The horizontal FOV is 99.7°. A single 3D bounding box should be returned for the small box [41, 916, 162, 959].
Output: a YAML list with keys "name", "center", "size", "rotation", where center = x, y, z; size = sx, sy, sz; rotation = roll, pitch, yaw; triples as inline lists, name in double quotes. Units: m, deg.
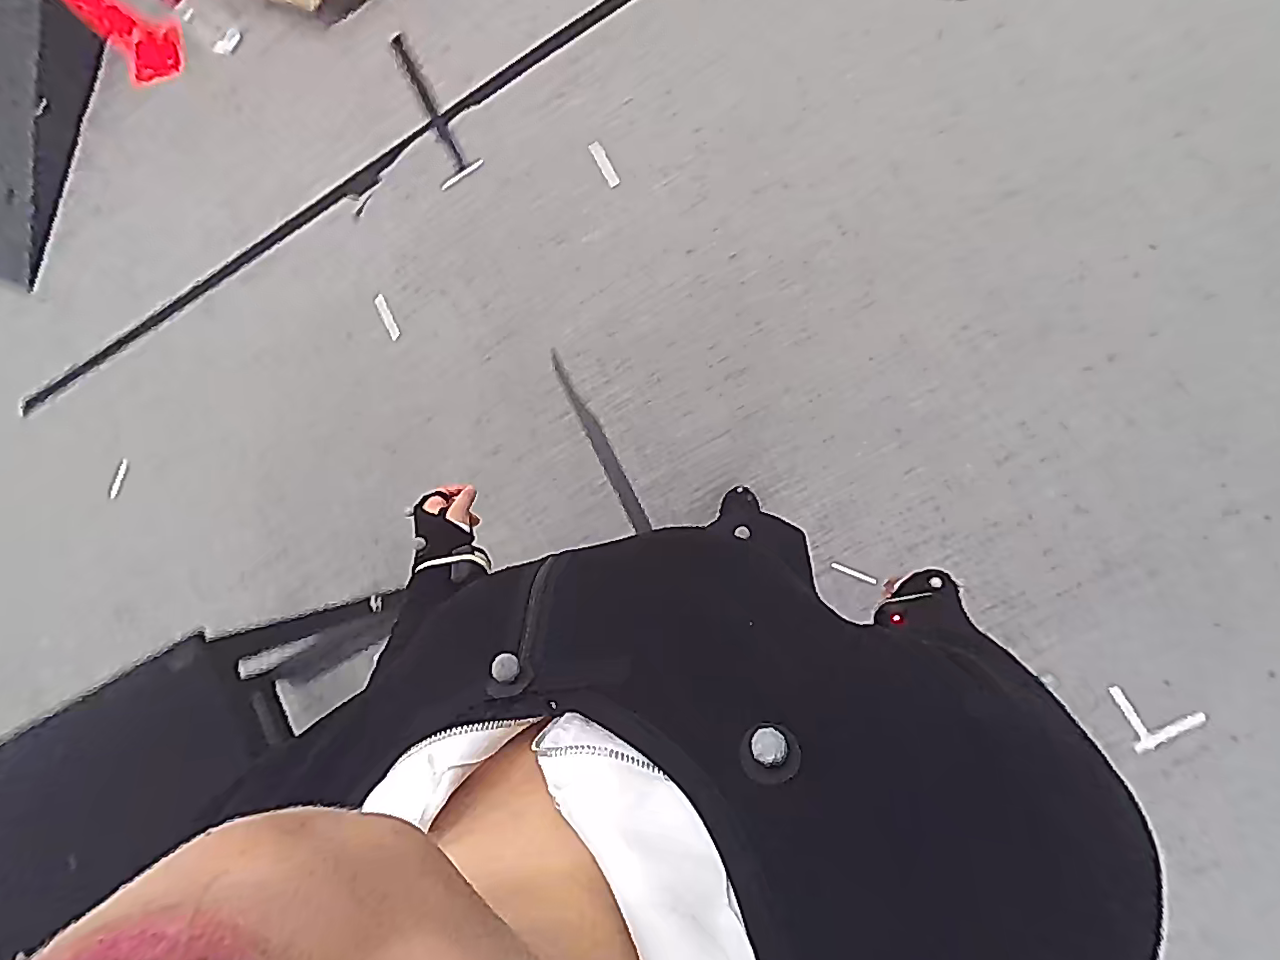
- name: "small box"
  center: [-0.841, 0.790, 0.789]
  size: [0.168, 0.176, 0.179]
  rotation: [-29, 84, 8]
